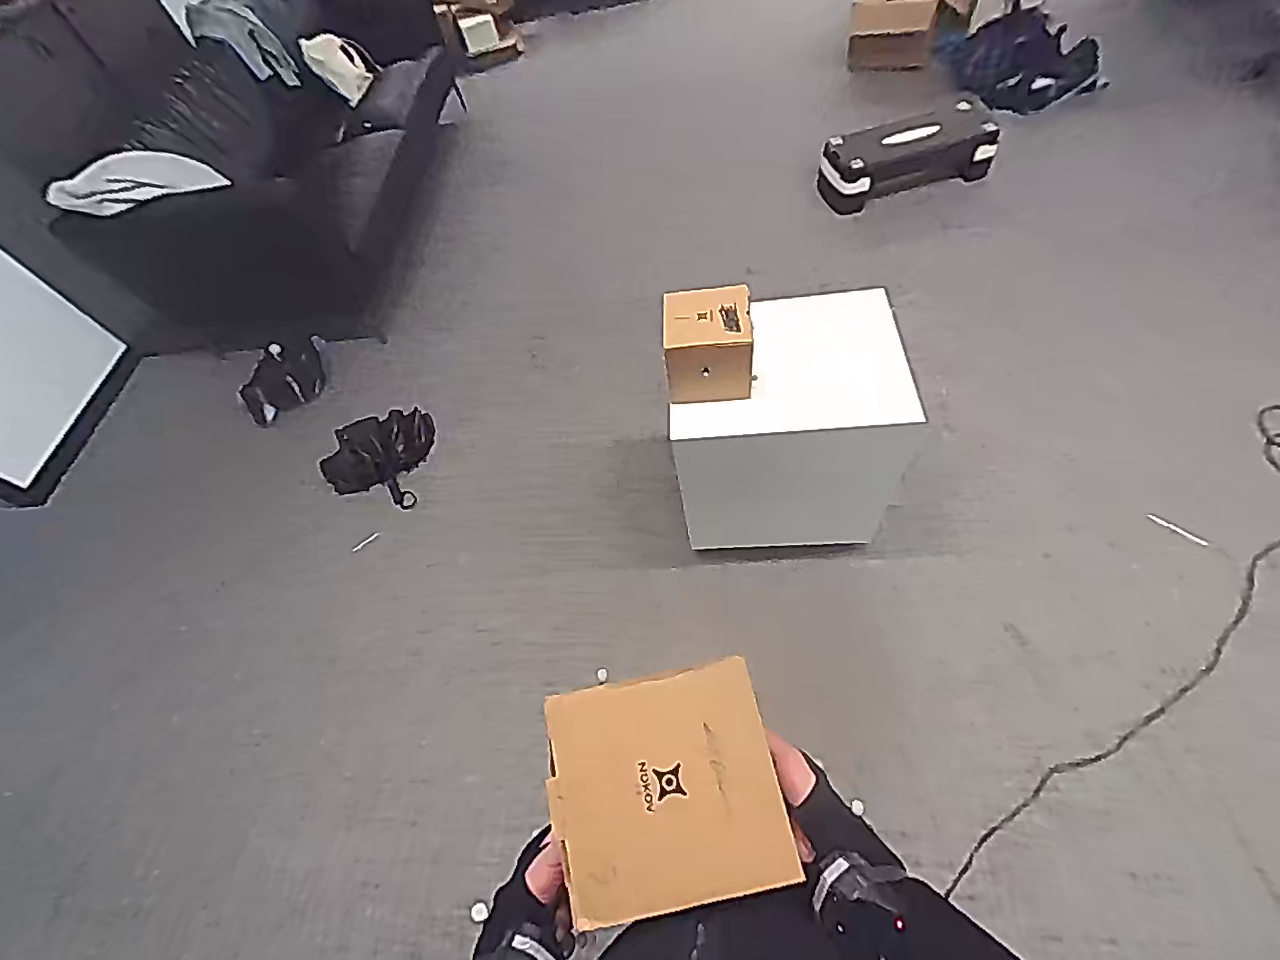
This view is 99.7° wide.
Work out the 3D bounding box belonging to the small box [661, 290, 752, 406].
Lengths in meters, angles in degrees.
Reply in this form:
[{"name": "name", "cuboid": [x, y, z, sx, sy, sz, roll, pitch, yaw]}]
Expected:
[{"name": "small box", "cuboid": [0.142, -0.275, 1.148, 0.179, 0.176, 0.168, -3, 57, 9]}]
